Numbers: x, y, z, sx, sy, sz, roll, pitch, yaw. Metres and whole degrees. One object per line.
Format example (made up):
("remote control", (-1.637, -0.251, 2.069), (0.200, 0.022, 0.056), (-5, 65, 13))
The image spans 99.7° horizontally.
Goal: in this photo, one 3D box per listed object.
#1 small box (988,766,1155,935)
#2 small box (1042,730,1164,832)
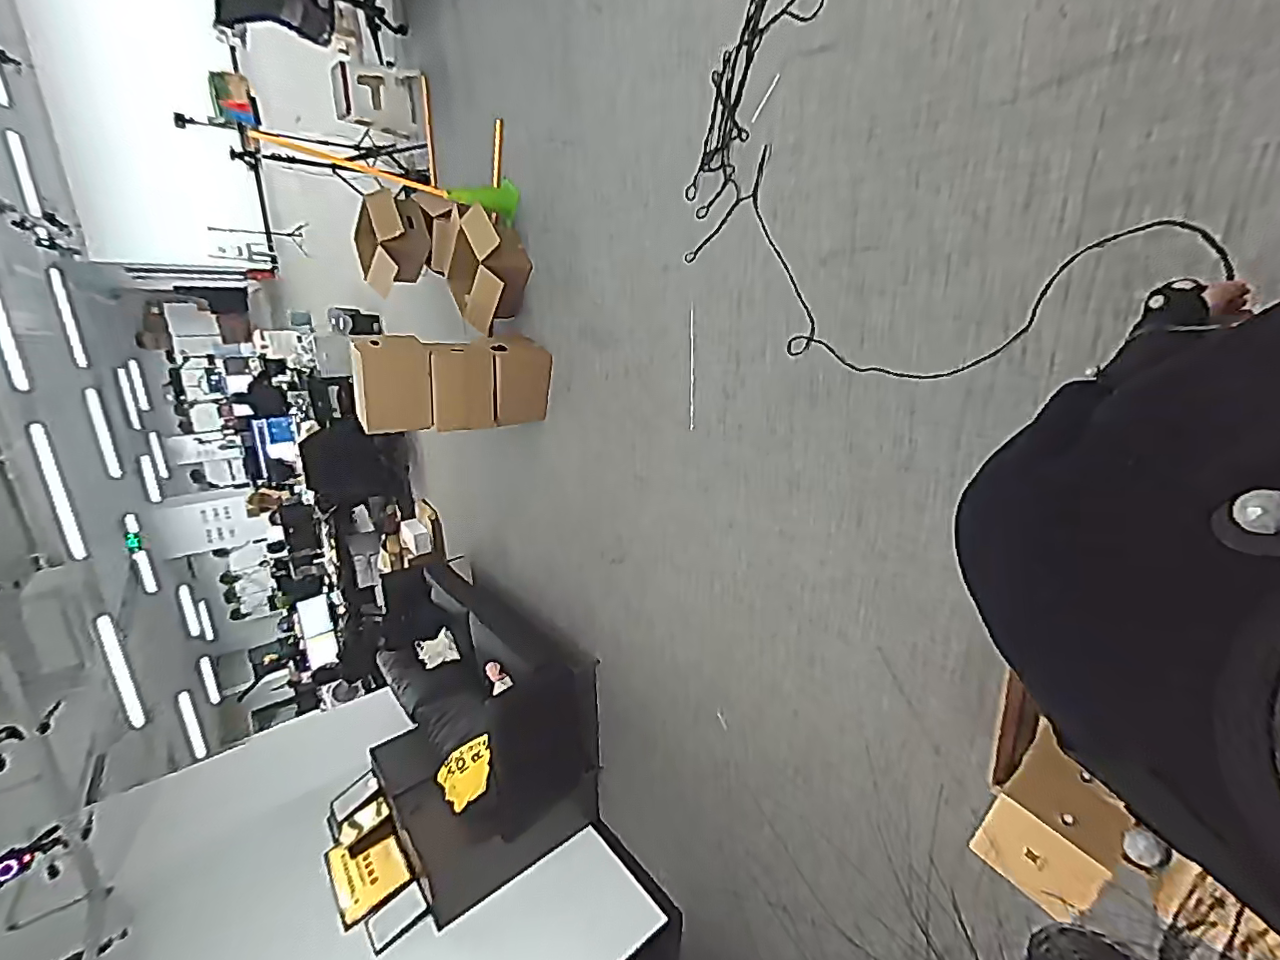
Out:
("small box", (0.804, 0.673, 1.013), (0.179, 0.176, 0.168), (33, 124, 43))
("small box", (0.938, 0.658, 1.106), (0.168, 0.176, 0.179), (13, 110, 50))
